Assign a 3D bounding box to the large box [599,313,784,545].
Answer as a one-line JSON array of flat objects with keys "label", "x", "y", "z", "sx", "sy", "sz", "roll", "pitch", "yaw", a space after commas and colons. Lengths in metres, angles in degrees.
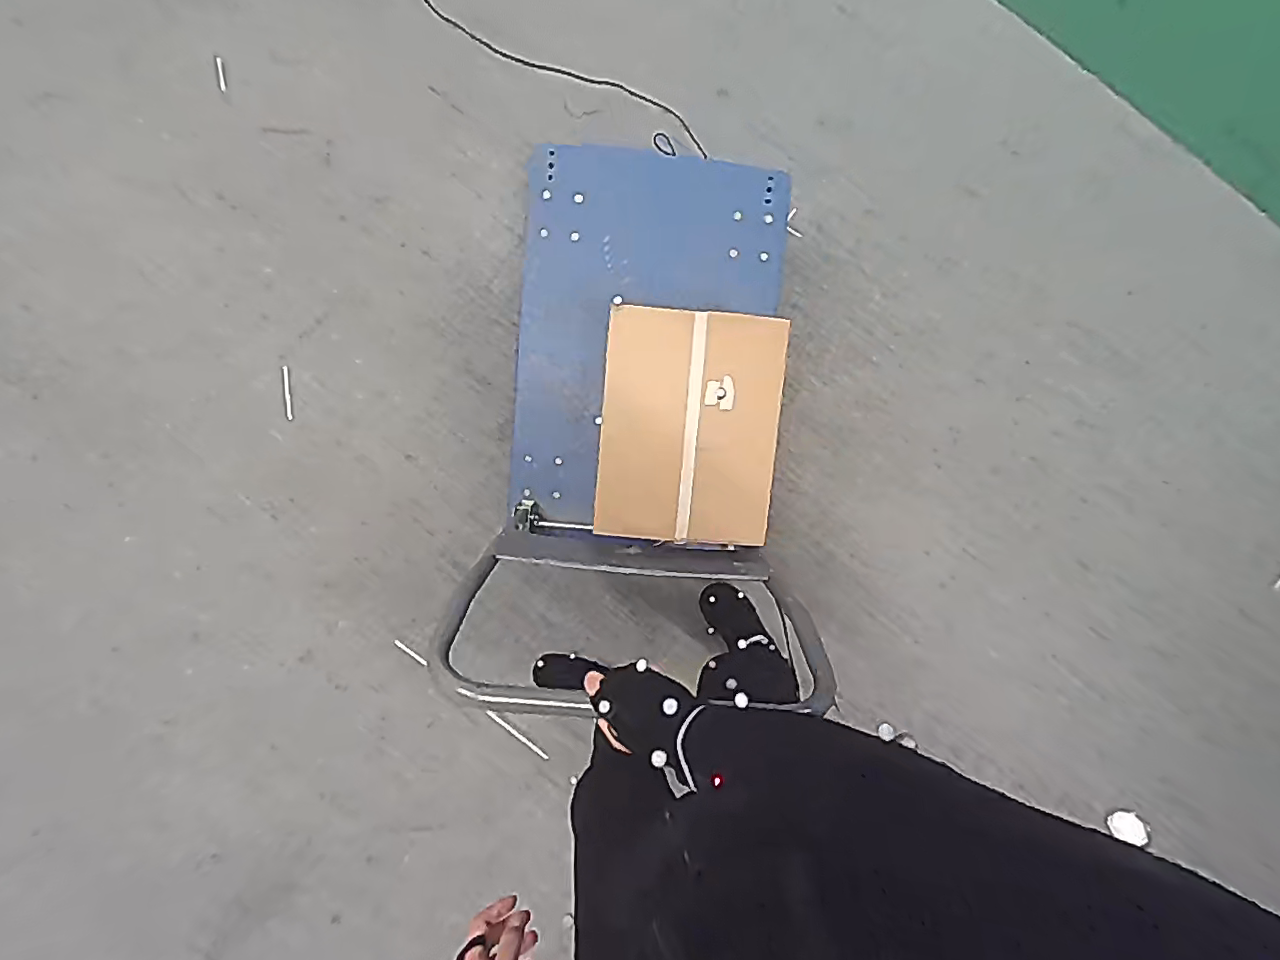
[{"label": "large box", "x": 0.088, "y": -0.098, "z": 1.108, "sx": 0.320, "sy": 0.320, "sz": 0.408, "roll": 4, "pitch": 96, "yaw": -2}]
